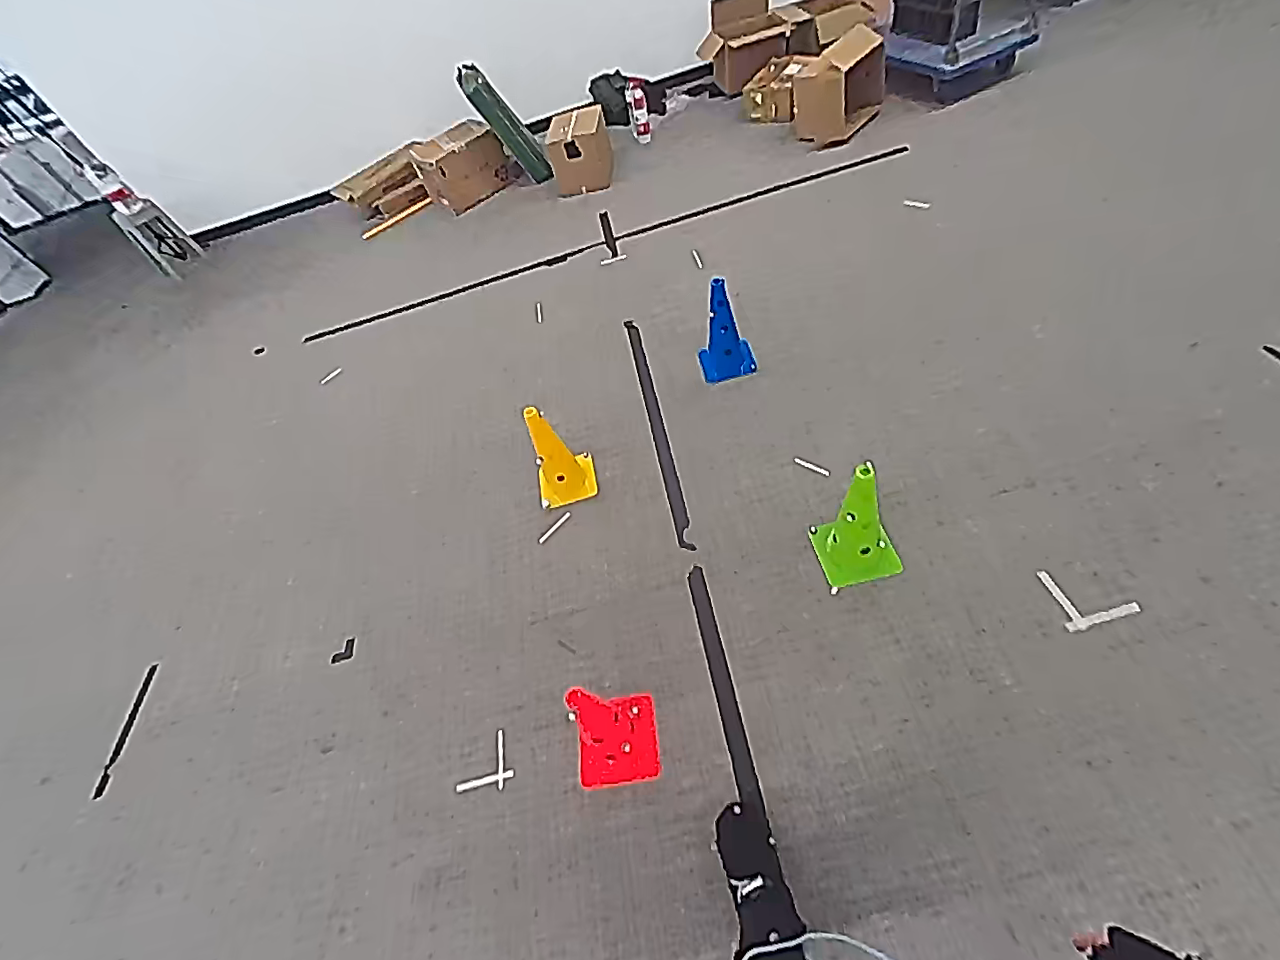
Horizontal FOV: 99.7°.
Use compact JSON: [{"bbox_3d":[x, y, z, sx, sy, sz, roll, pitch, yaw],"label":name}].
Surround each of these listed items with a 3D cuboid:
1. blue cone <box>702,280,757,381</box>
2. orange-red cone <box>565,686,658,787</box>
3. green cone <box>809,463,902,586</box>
[{"bbox_3d":[0.310,-0.558,1.981,0.192,0.380,0.193,-12,51,6],"label":"blue cone"},{"bbox_3d":[-0.096,0.543,1.219,0.199,0.360,0.198,-13,49,8],"label":"orange-red cone"},{"bbox_3d":[0.561,0.089,1.379,0.202,0.368,0.200,-15,50,3],"label":"green cone"}]
